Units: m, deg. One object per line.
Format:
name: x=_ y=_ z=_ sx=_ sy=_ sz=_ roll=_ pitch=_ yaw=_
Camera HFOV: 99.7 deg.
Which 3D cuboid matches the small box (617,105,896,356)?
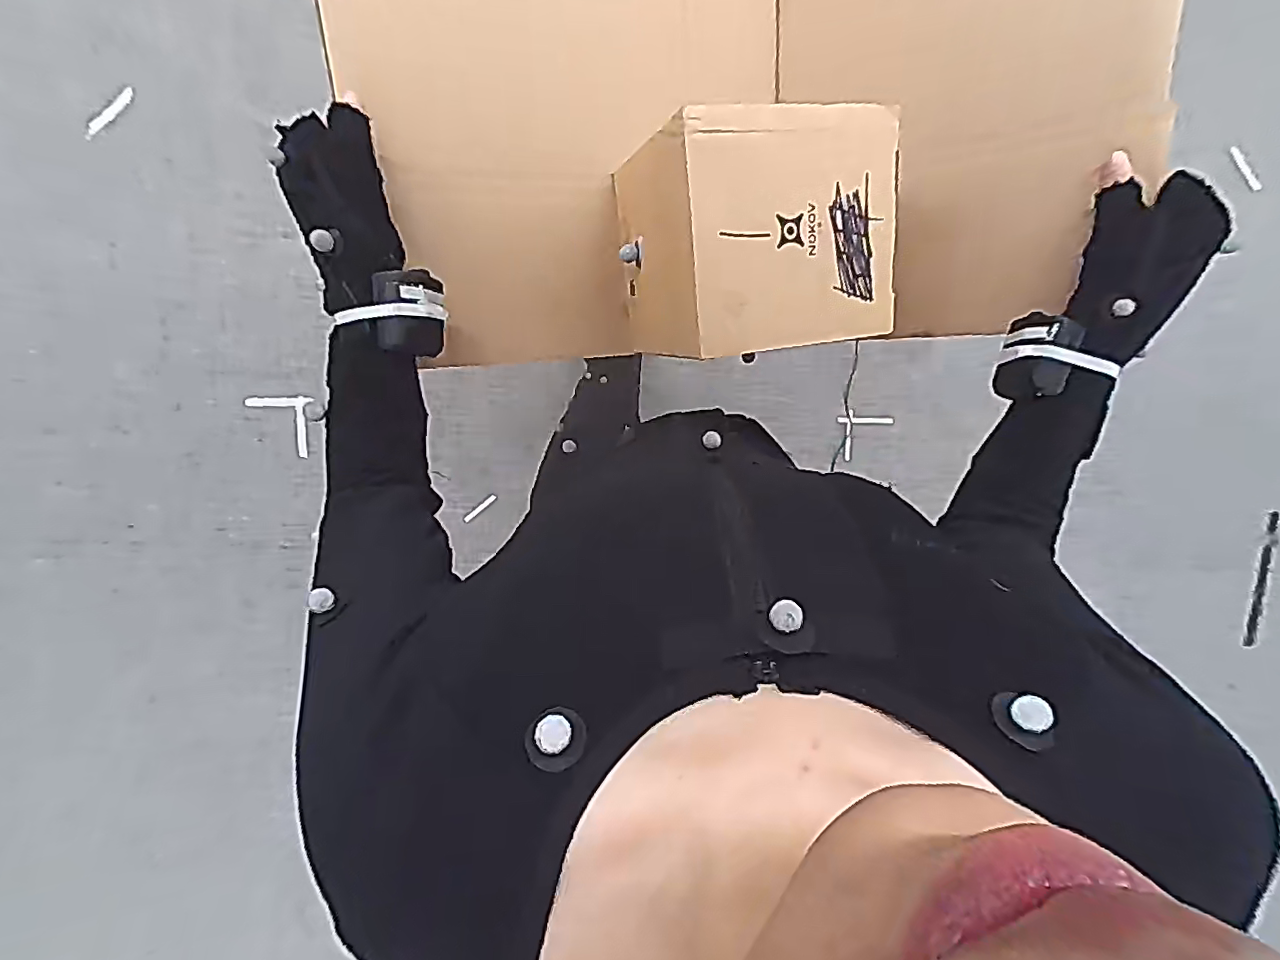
small box: x=0.091 y=-0.205 z=0.476 sx=0.179 sy=0.176 sz=0.168 roll=-11 pitch=107 yaw=-15
